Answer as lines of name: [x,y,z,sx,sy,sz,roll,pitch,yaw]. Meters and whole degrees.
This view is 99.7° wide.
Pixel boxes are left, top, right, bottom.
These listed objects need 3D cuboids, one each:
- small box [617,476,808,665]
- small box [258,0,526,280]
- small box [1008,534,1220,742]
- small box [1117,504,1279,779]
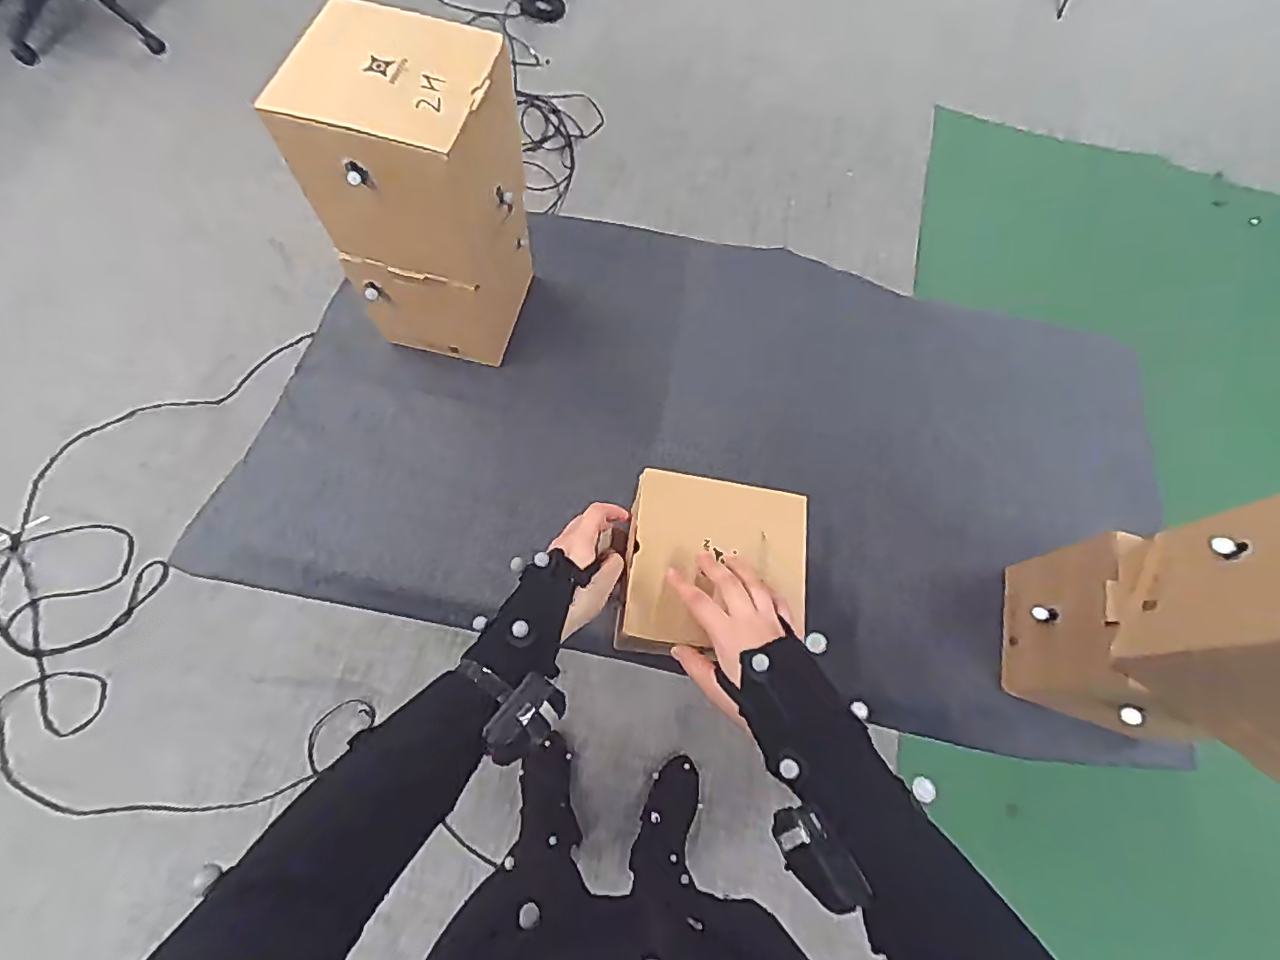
small box: [0.071,0.110,0.600,0.179,0.176,0.168,8,71,-1]
small box: [-0.233,-0.339,0.564,0.179,0.176,0.168,14,70,0]
small box: [0.552,0.185,0.607,0.179,0.176,0.168,19,66,3]
small box: [0.565,0.137,0.451,0.179,0.176,0.168,39,68,10]
